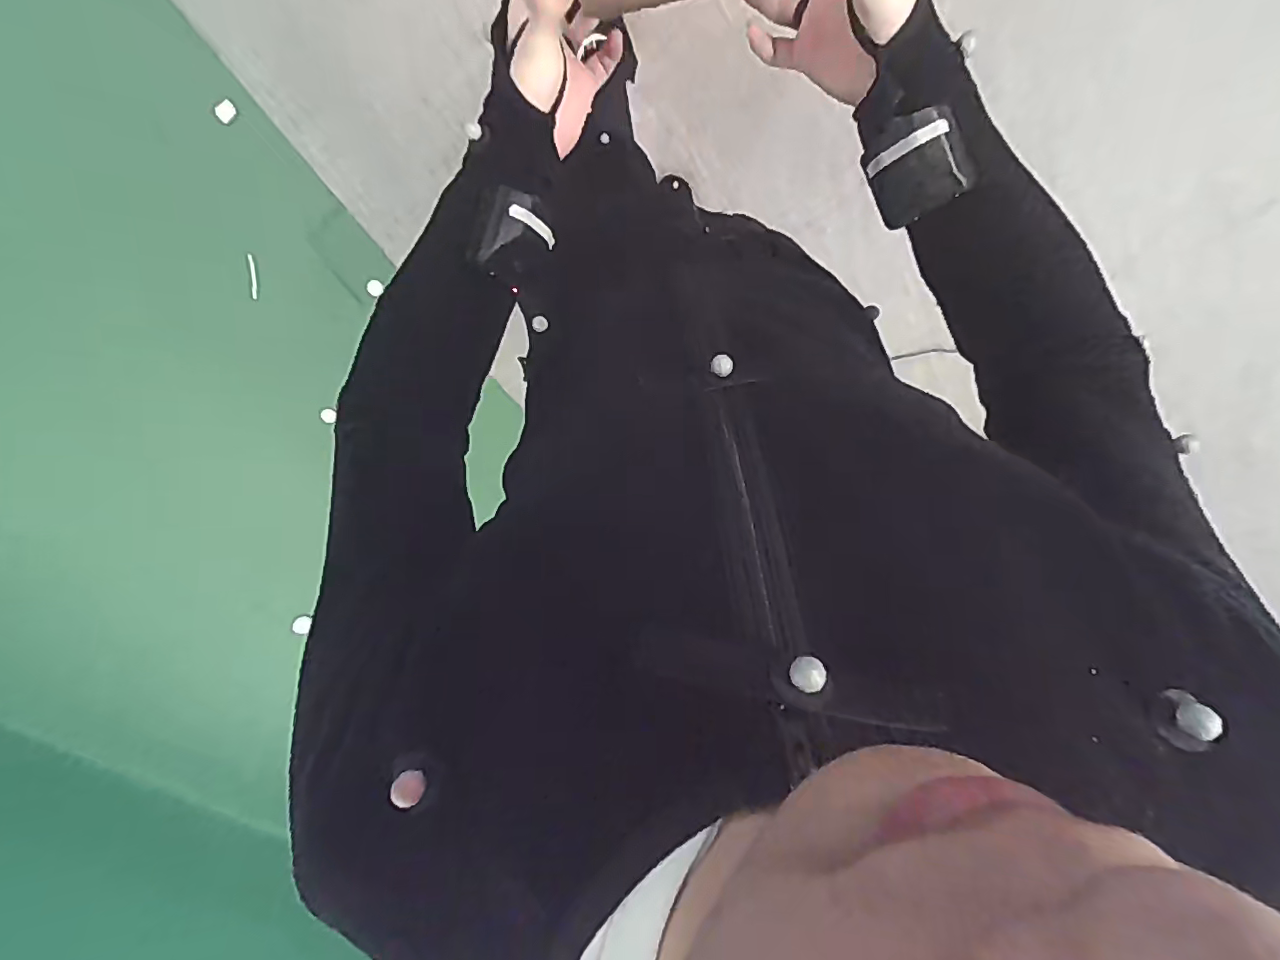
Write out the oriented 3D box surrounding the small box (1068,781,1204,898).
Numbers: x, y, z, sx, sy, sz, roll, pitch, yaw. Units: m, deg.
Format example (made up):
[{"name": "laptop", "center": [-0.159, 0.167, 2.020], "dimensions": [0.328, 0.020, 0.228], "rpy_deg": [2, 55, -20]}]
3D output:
[{"name": "small box", "center": [1.126, 0.817, 1.238], "dimensions": [0.168, 0.176, 0.179], "rpy_deg": [-30, 122, 17]}]
